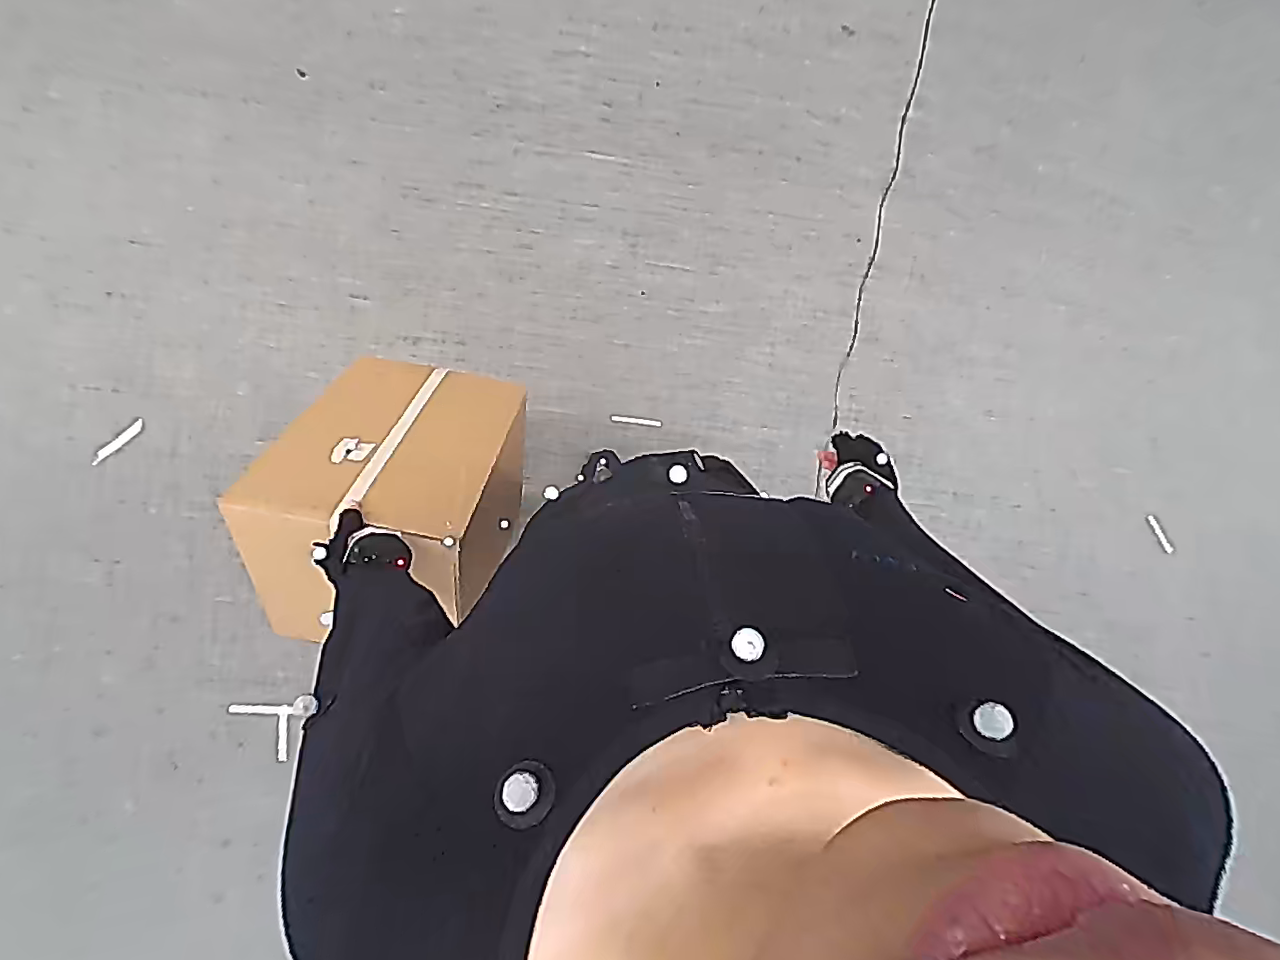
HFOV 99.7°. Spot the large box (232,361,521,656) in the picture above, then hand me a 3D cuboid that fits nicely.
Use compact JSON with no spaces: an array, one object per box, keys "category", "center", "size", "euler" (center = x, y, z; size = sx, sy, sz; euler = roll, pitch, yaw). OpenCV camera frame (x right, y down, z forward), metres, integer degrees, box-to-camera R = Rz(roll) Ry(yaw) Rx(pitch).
[{"category":"large box","center":[-0.412,0.042,0.973],"size":[0.320,0.408,0.320],"euler":[10,131,-3]}]
